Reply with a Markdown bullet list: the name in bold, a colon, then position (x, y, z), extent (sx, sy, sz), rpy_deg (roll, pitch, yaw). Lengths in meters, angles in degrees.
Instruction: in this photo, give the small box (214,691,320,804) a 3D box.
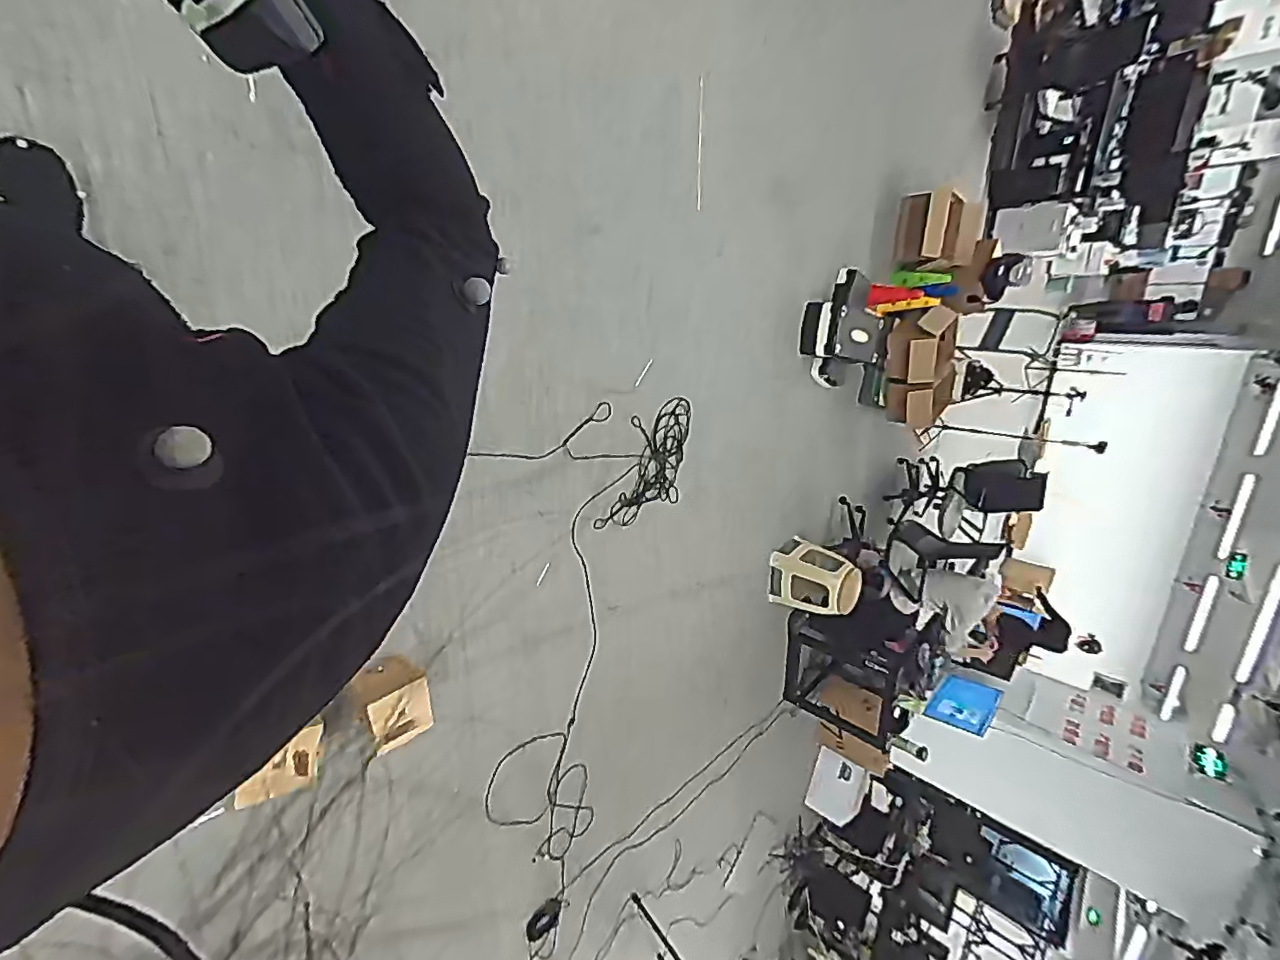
- **small box**: position (-0.930, 0.652, 1.348), extent (0.179, 0.176, 0.168), rpy_deg (3, 100, -47)
